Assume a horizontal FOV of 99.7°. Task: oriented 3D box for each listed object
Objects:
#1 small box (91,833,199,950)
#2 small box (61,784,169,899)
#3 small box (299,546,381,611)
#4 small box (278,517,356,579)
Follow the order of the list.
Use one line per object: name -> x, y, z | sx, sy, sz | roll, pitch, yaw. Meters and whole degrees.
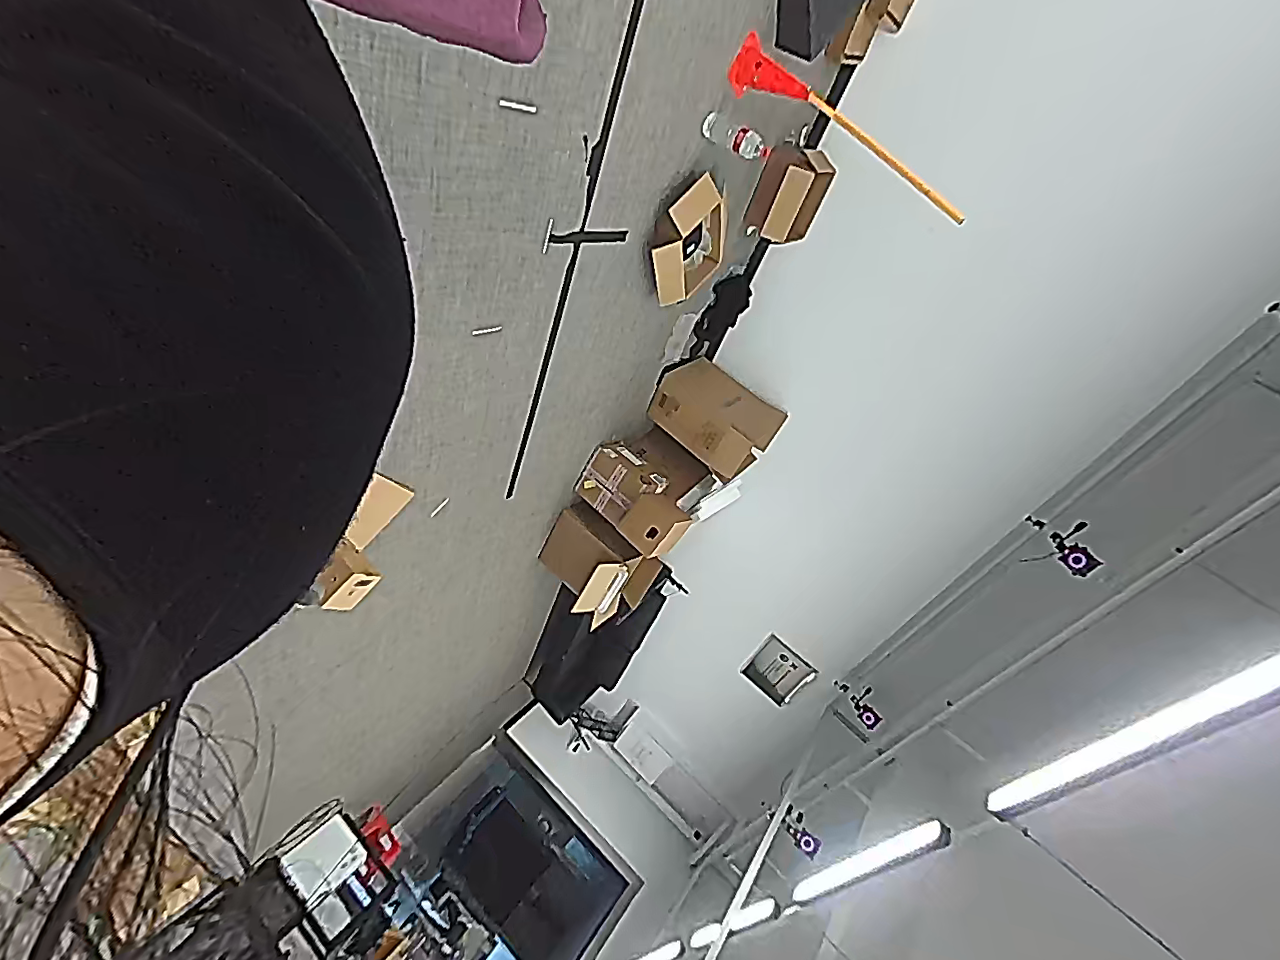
small box -> -1.333, 1.105, 1.463 | 0.168, 0.176, 0.179 | -29, 153, -52
small box -> -1.452, 0.996, 1.500 | 0.179, 0.176, 0.168 | -31, 155, -51
small box -> -1.132, 0.372, 2.038 | 0.179, 0.176, 0.168 | -47, 162, -6
small box -> -1.253, 0.270, 2.087 | 0.179, 0.176, 0.168 | -47, 163, -5
